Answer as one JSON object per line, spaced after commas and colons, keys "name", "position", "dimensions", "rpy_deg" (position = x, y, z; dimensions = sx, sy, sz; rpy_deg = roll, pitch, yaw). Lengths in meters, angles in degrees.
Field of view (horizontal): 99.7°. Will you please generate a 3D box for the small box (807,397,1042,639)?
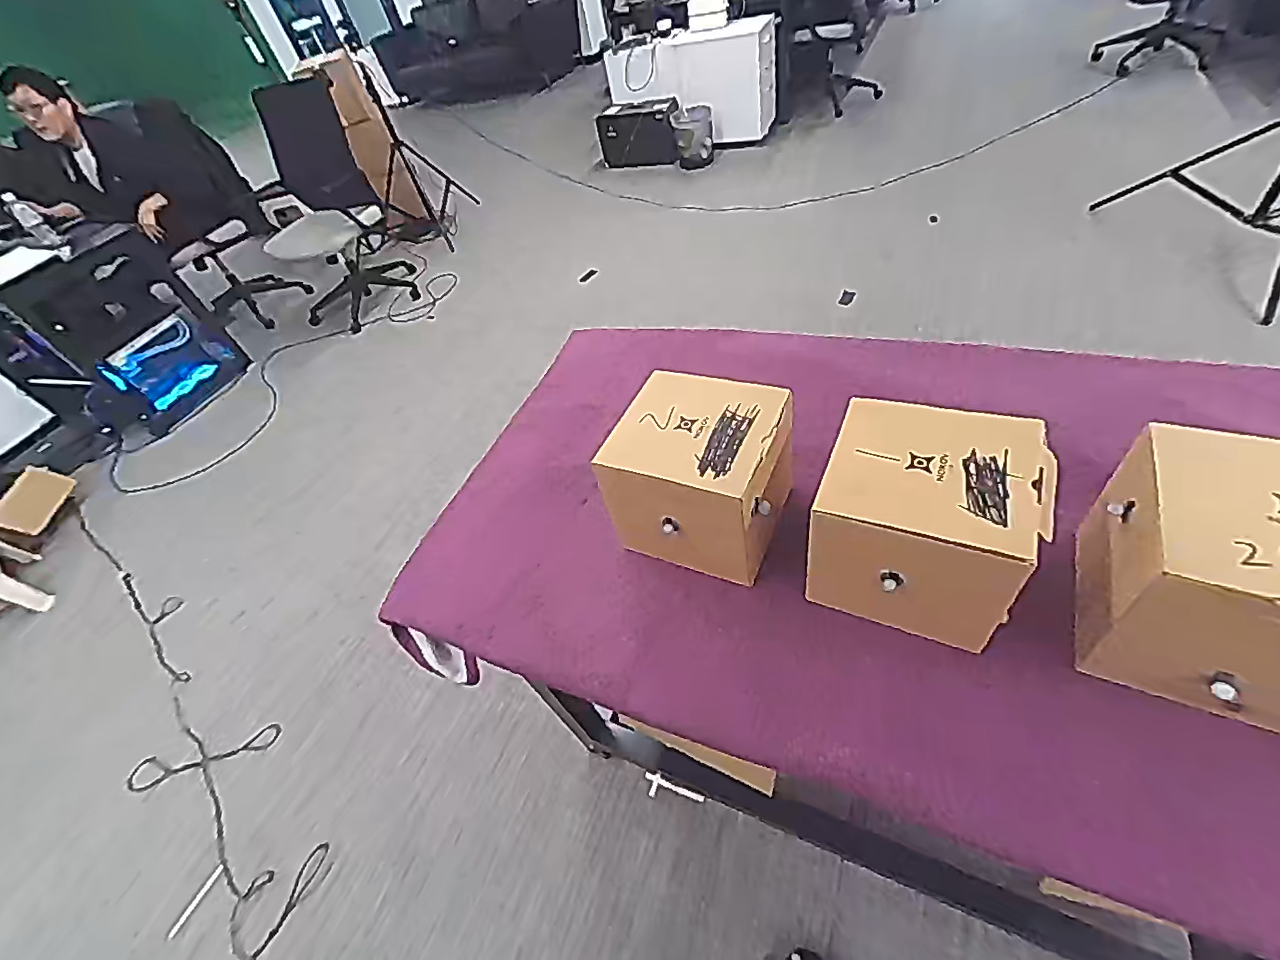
{"name": "small box", "position": [0.281, 0.040, 0.558], "dimensions": [0.179, 0.176, 0.168], "rpy_deg": [13, 53, 26]}
